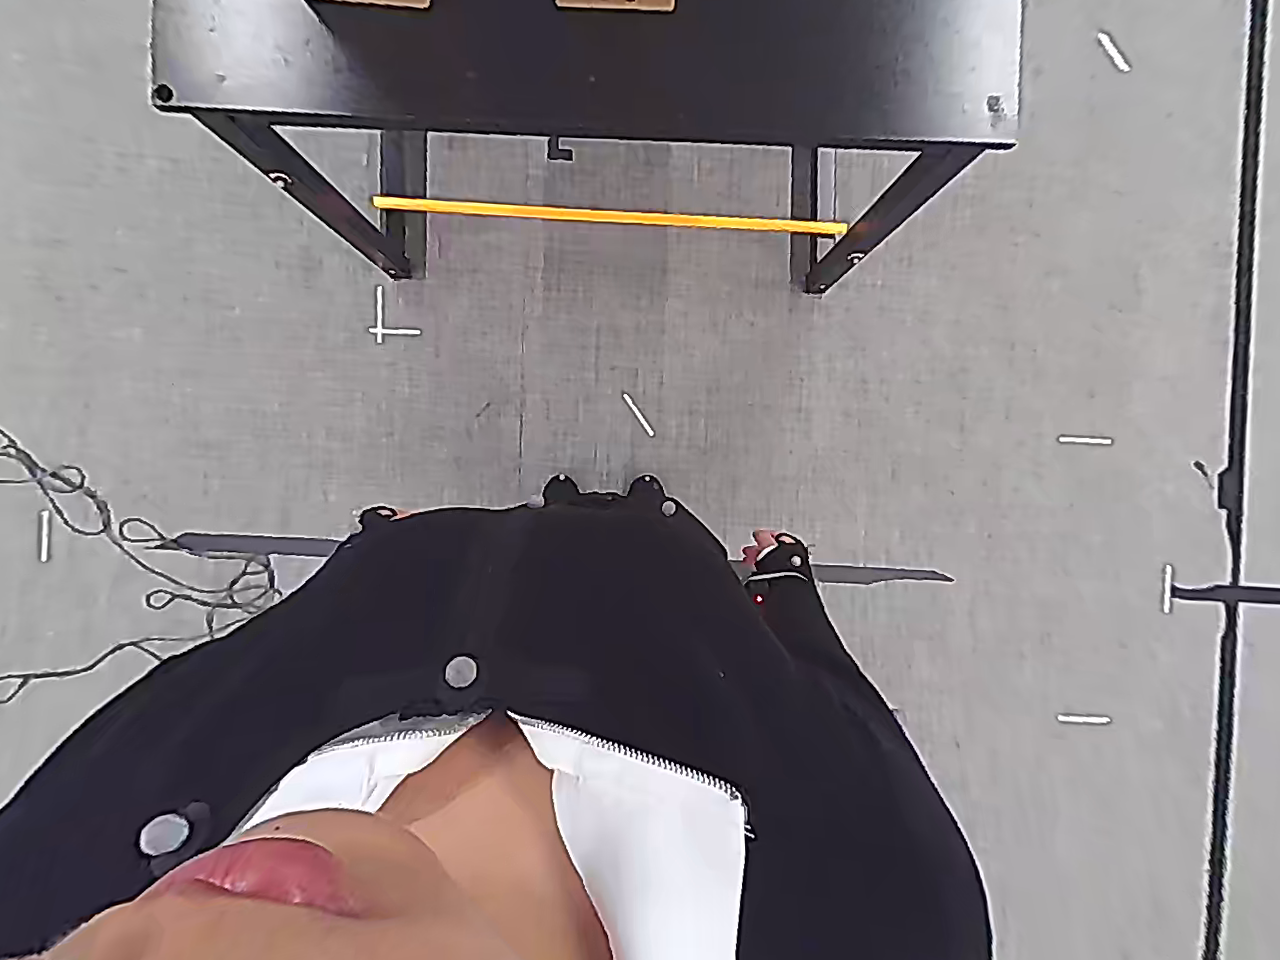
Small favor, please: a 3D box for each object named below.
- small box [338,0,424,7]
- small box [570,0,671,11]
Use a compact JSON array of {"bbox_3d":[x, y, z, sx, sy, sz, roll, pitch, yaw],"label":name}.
[{"bbox_3d":[-0.371,-0.736,0.666,0.179,0.176,0.168,3,91,-3],"label":"small box"},{"bbox_3d":[-0.033,-0.743,0.679,0.168,0.176,0.179,0,91,-2],"label":"small box"}]
